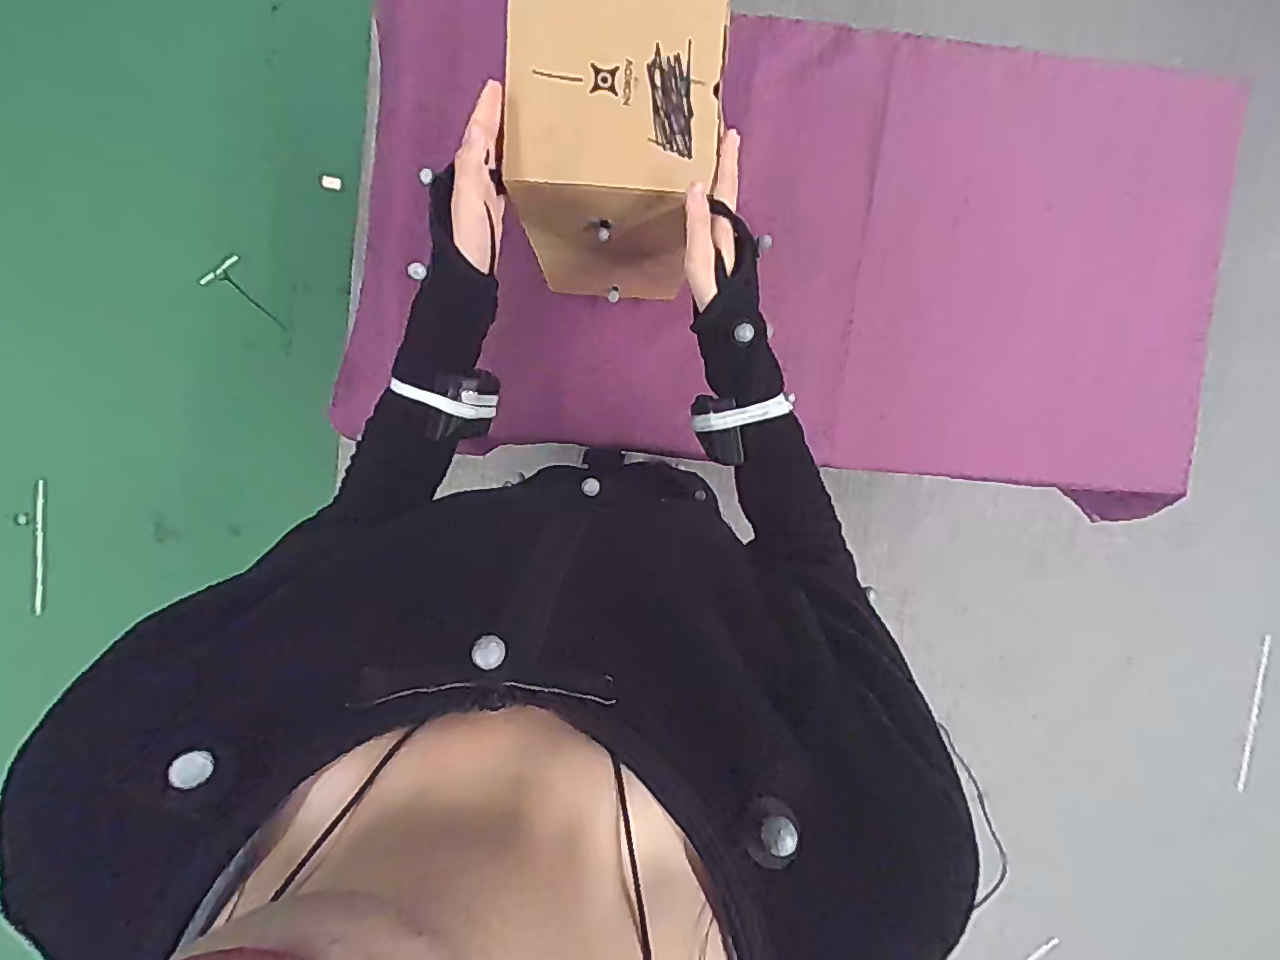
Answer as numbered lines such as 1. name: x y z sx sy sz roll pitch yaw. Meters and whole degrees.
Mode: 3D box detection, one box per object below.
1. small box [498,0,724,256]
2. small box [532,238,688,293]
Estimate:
1. small box: -0.027 -0.325 0.513 0.179 0.176 0.168 3 95 -1
2. small box: -0.034 -0.339 0.677 0.179 0.176 0.168 3 95 -3
